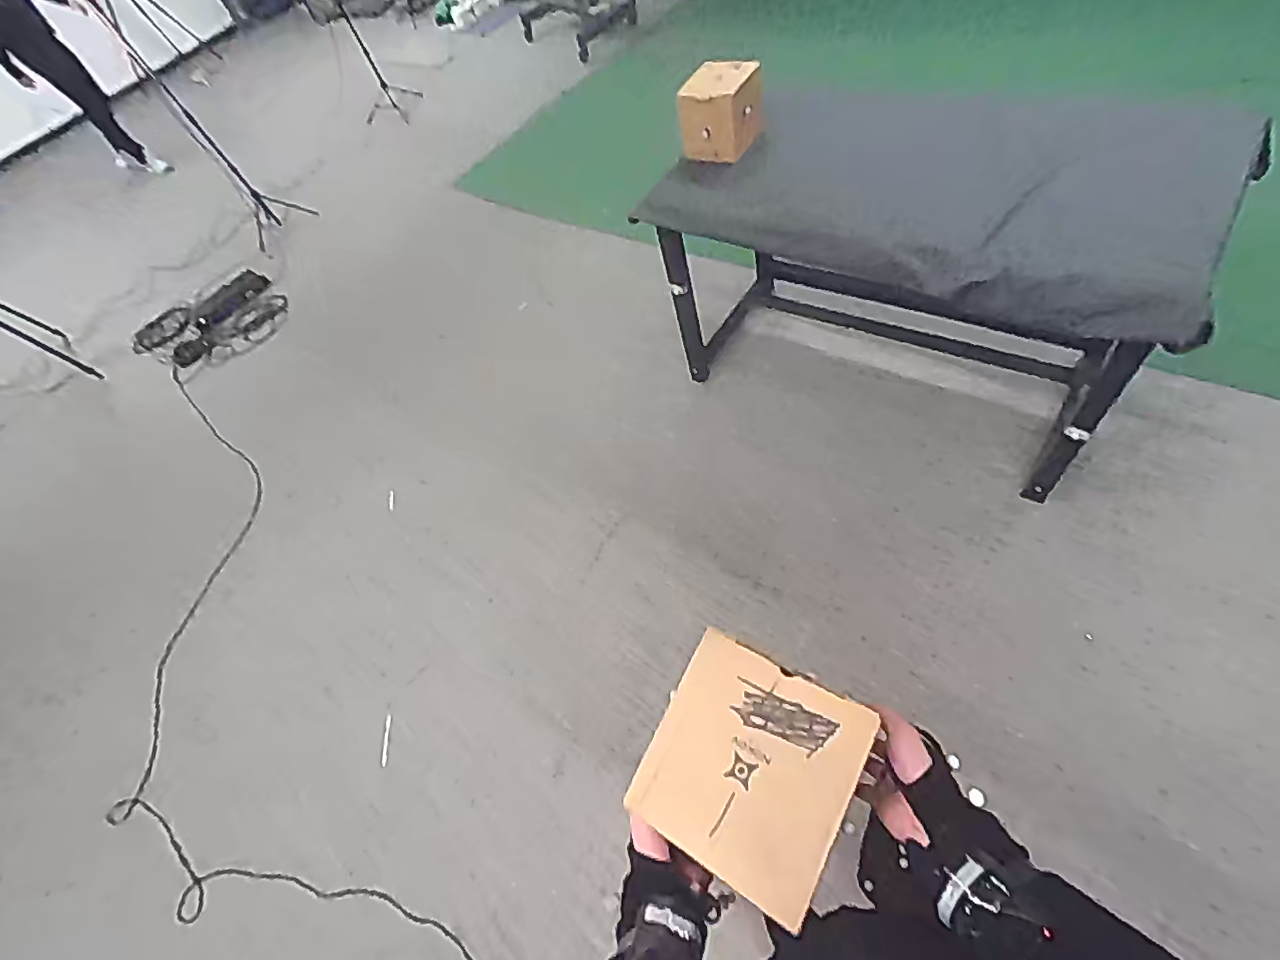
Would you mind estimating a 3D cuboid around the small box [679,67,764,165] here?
[{"bbox_3d":[0.232,-0.994,1.484,0.168,0.176,0.179,22,67,27],"label":"small box"}]
